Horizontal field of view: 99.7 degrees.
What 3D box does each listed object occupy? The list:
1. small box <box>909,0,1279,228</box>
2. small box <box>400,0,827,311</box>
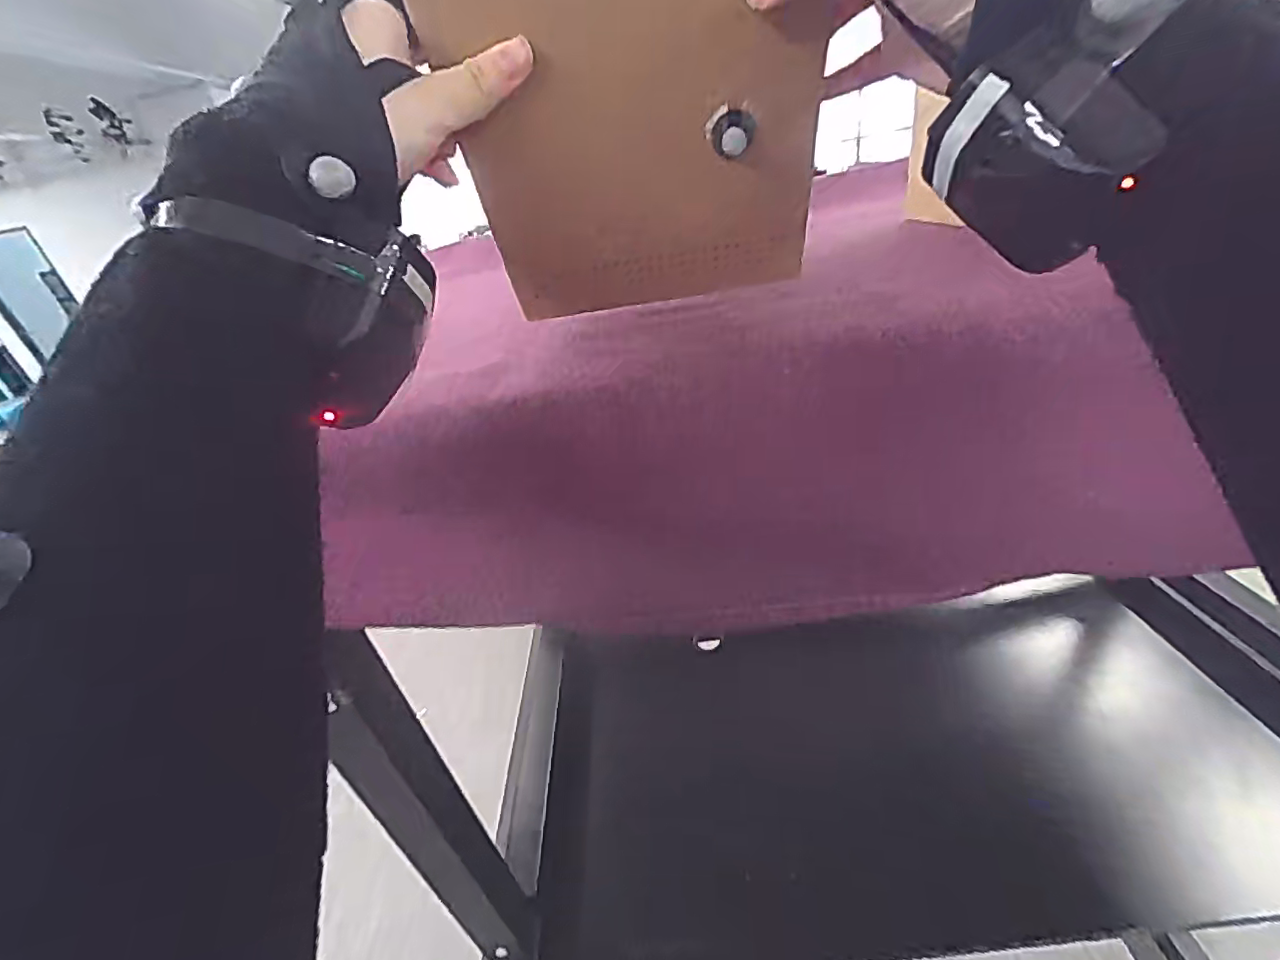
[{"bbox_3d":[0.313,-0.281,0.375,0.168,0.176,0.179,-12,29,-1],"label":"small box"},{"bbox_3d":[-0.006,-0.224,0.313,0.179,0.176,0.168,-8,54,4],"label":"small box"}]
